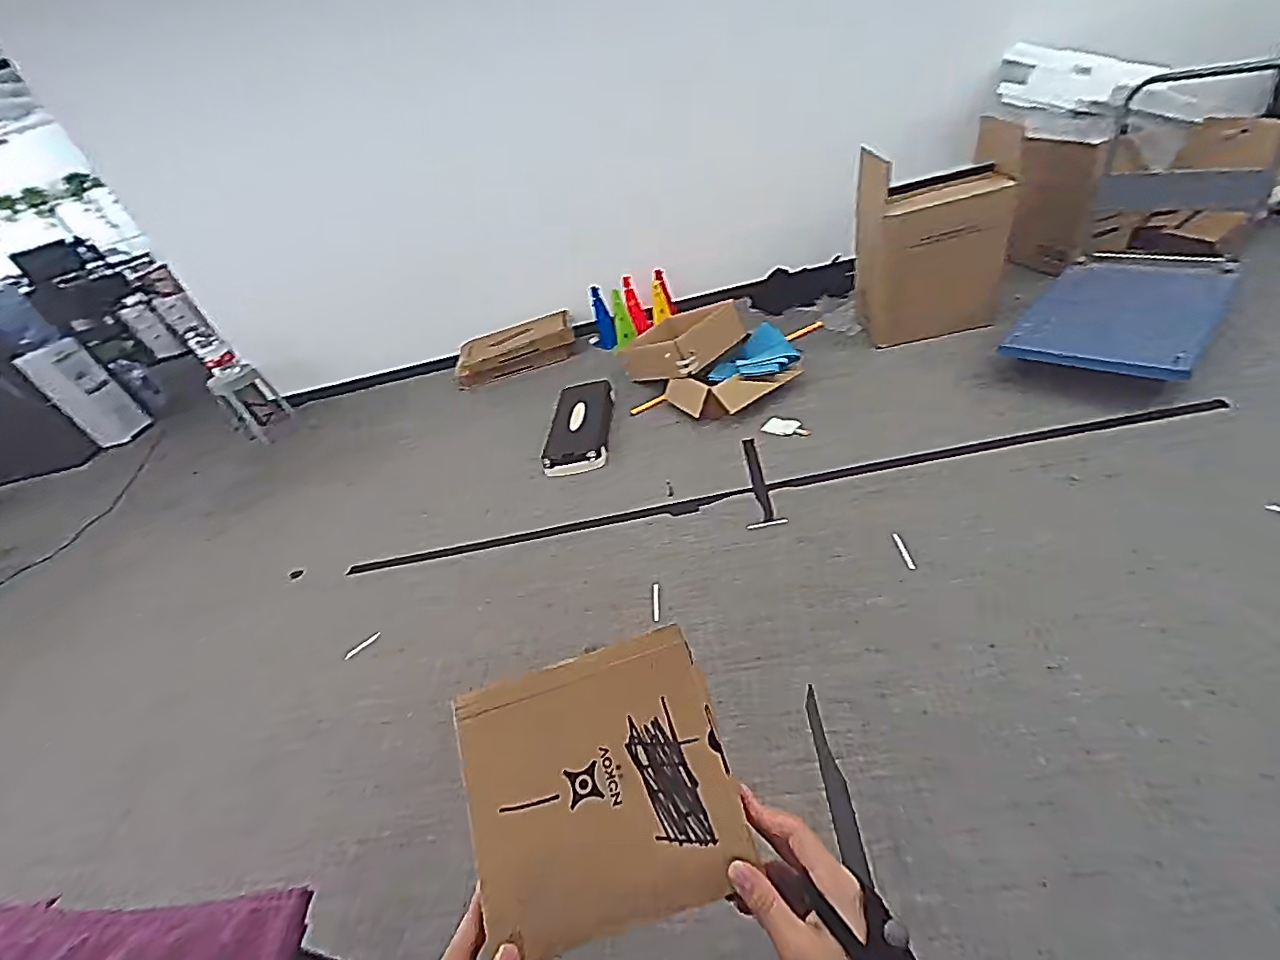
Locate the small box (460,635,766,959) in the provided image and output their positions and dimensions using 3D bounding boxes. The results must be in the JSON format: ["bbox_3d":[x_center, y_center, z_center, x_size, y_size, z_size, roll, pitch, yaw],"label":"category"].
[{"bbox_3d":[-0.020,0.241,0.436,0.179,0.176,0.168,-18,64,-3],"label":"small box"}]
